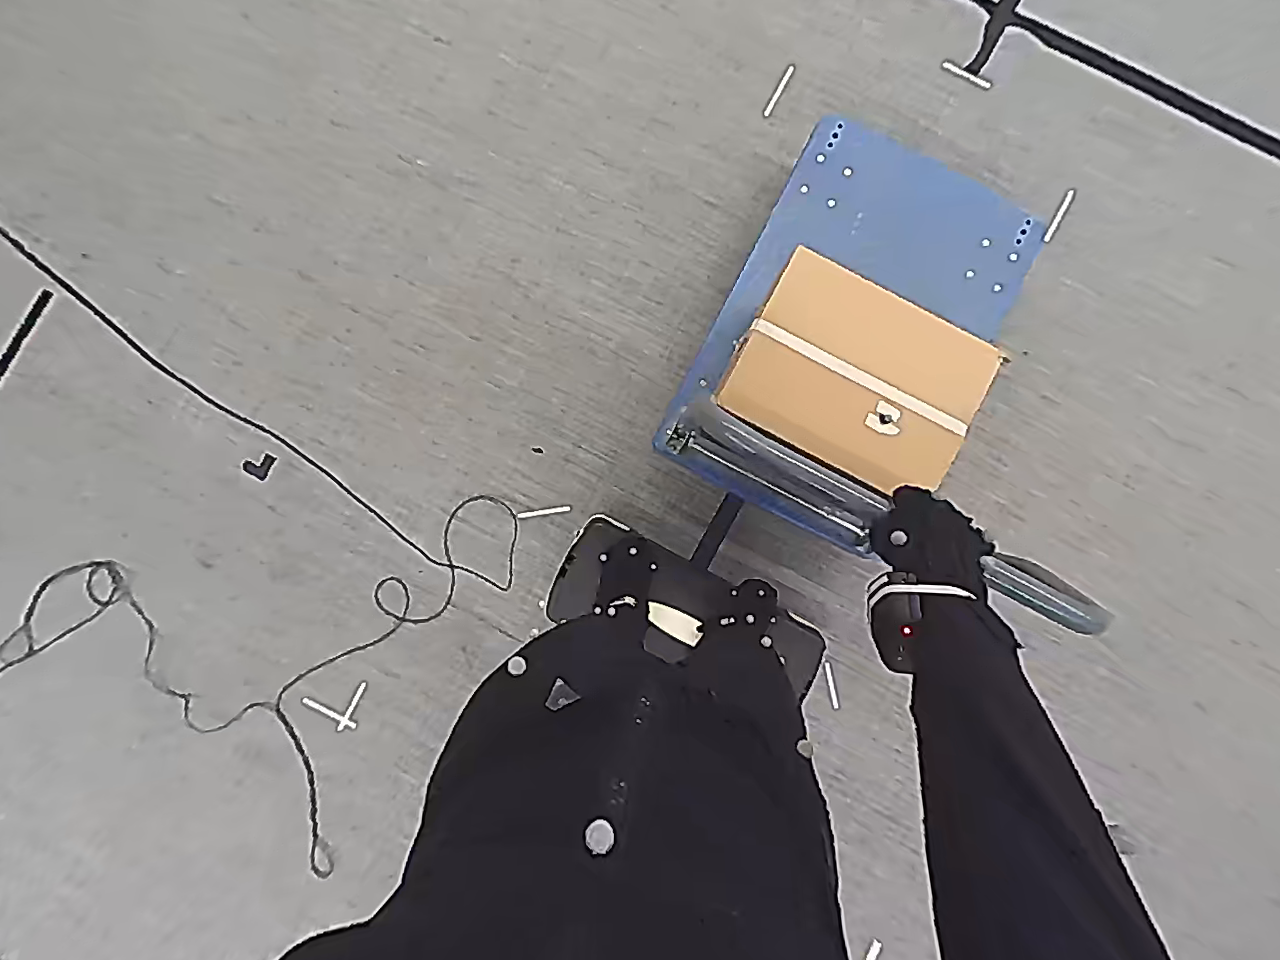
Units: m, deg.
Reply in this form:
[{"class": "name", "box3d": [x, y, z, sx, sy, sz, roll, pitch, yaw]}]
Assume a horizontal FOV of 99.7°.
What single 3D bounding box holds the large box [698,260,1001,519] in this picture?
[{"class": "large box", "box3d": [0.370, -0.153, 1.067, 0.408, 0.320, 0.320, 28, 89, 0]}]
